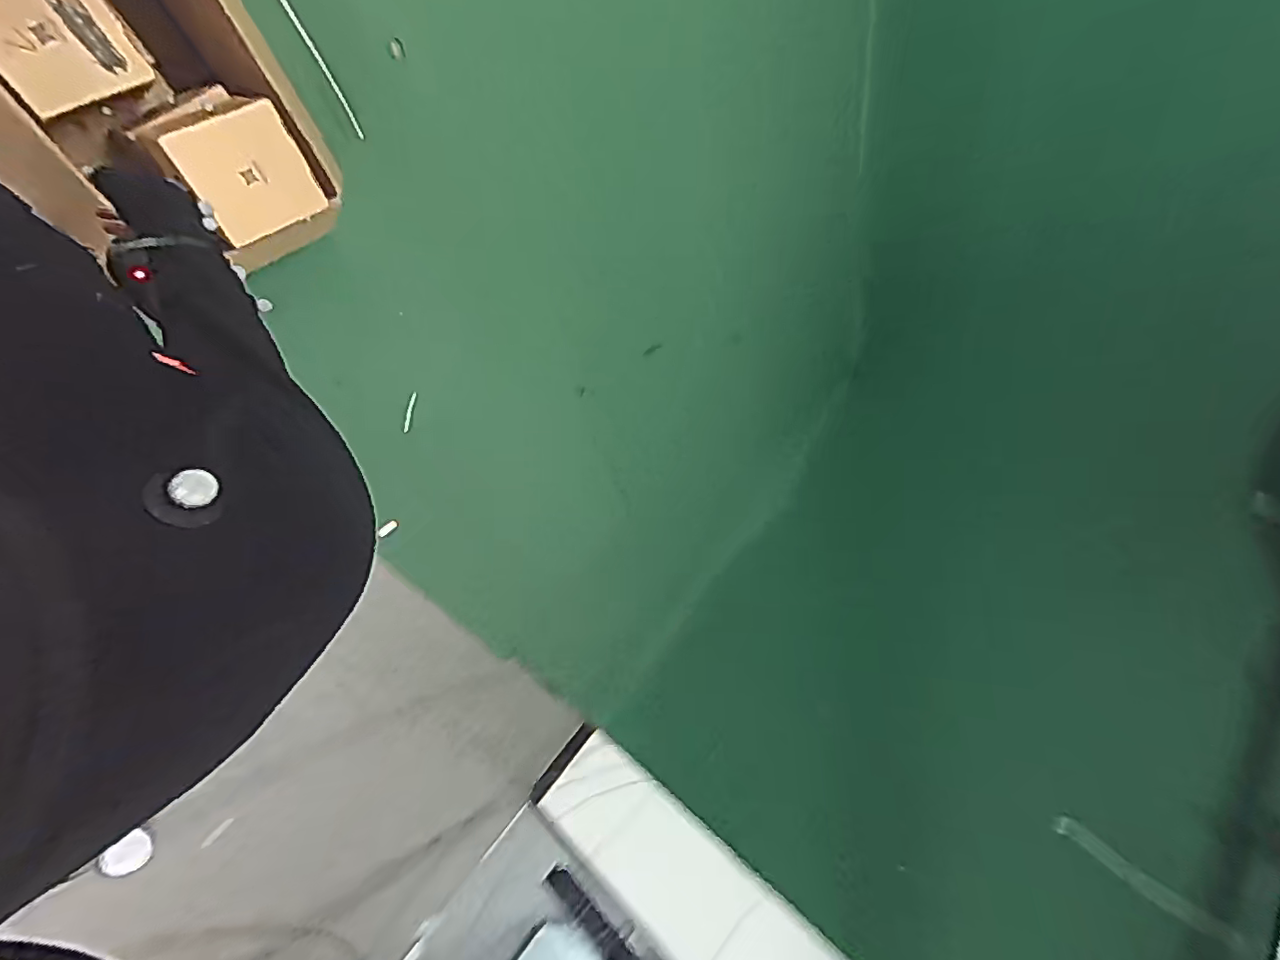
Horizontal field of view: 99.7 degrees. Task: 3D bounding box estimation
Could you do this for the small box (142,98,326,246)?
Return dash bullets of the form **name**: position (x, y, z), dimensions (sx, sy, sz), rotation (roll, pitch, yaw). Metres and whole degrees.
- **small box**: position (-0.681, -0.519, 0.908), dimensions (0.179, 0.176, 0.168), rotation (-43, 142, -25)
